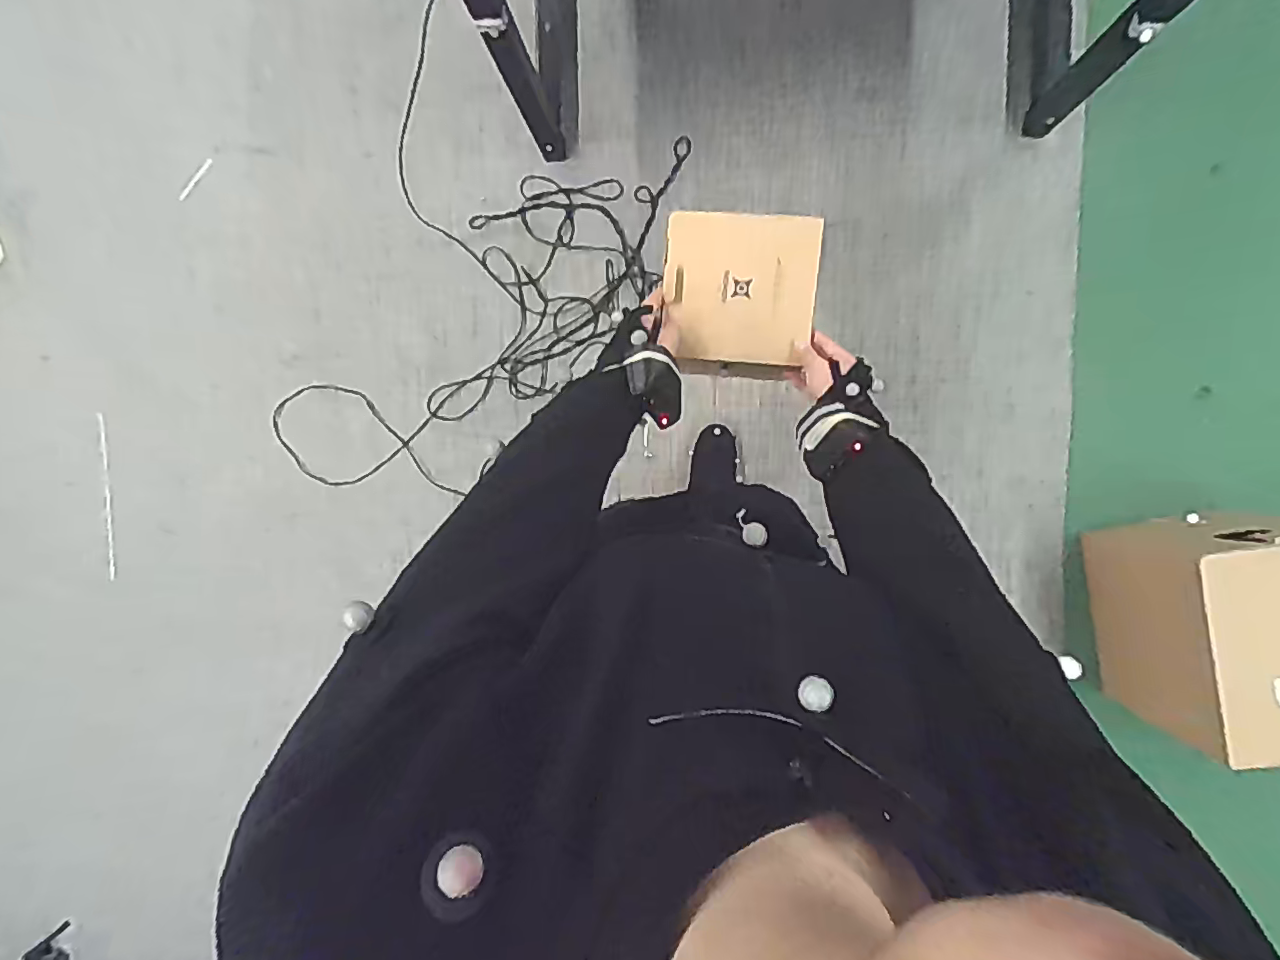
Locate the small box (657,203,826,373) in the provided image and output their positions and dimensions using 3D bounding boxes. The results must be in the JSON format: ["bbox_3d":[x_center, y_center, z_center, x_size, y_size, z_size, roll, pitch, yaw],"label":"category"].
[{"bbox_3d":[0.121,-0.231,0.688,0.179,0.176,0.168,5,96,5],"label":"small box"}]
